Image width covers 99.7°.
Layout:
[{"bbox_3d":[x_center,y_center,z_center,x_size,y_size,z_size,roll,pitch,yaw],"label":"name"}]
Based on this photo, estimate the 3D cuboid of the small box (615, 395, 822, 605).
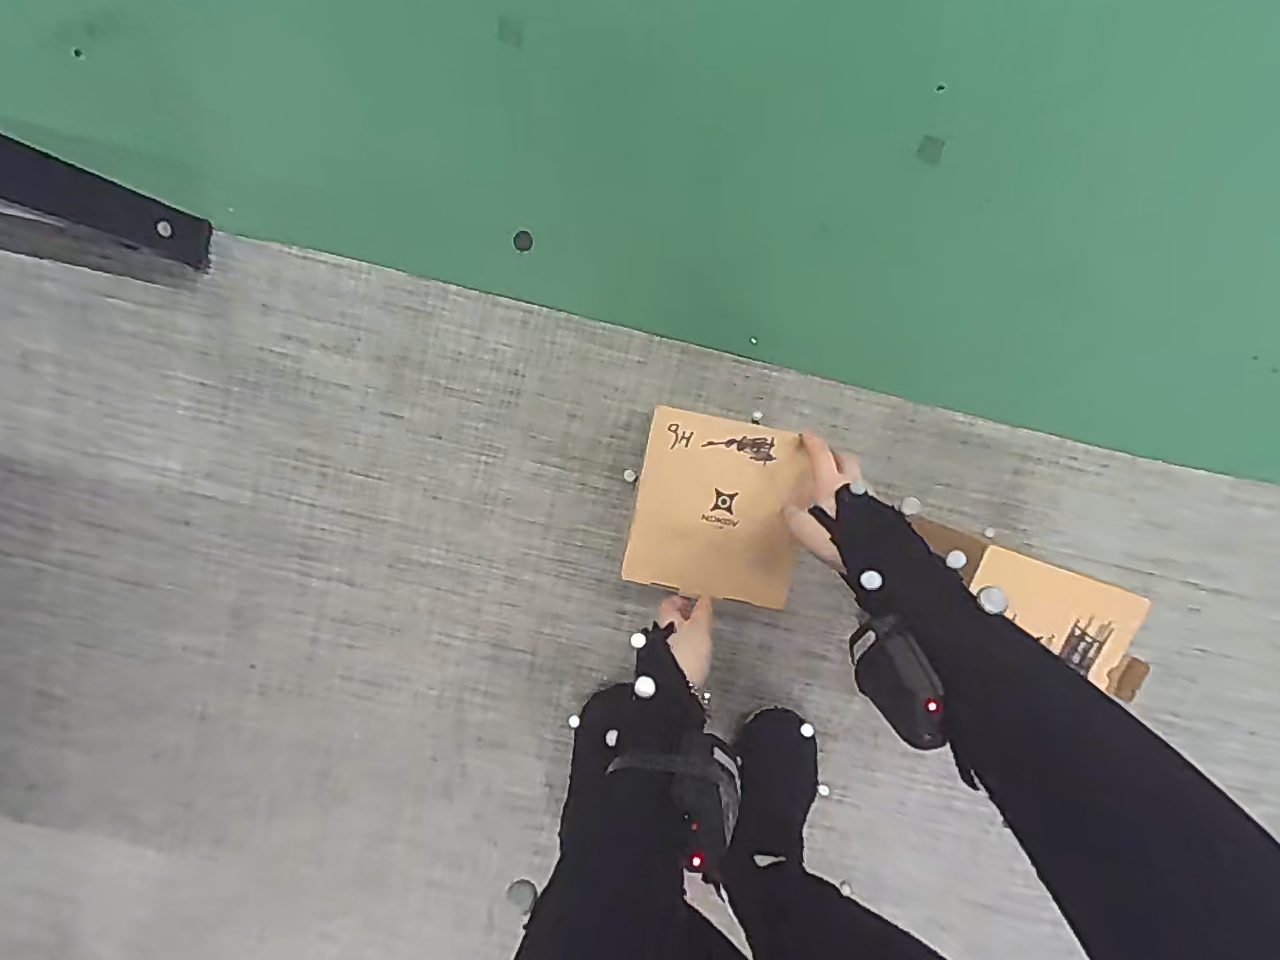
[{"bbox_3d":[0.074,0.010,0.588,0.168,0.176,0.179,11,98,-1],"label":"small box"}]
